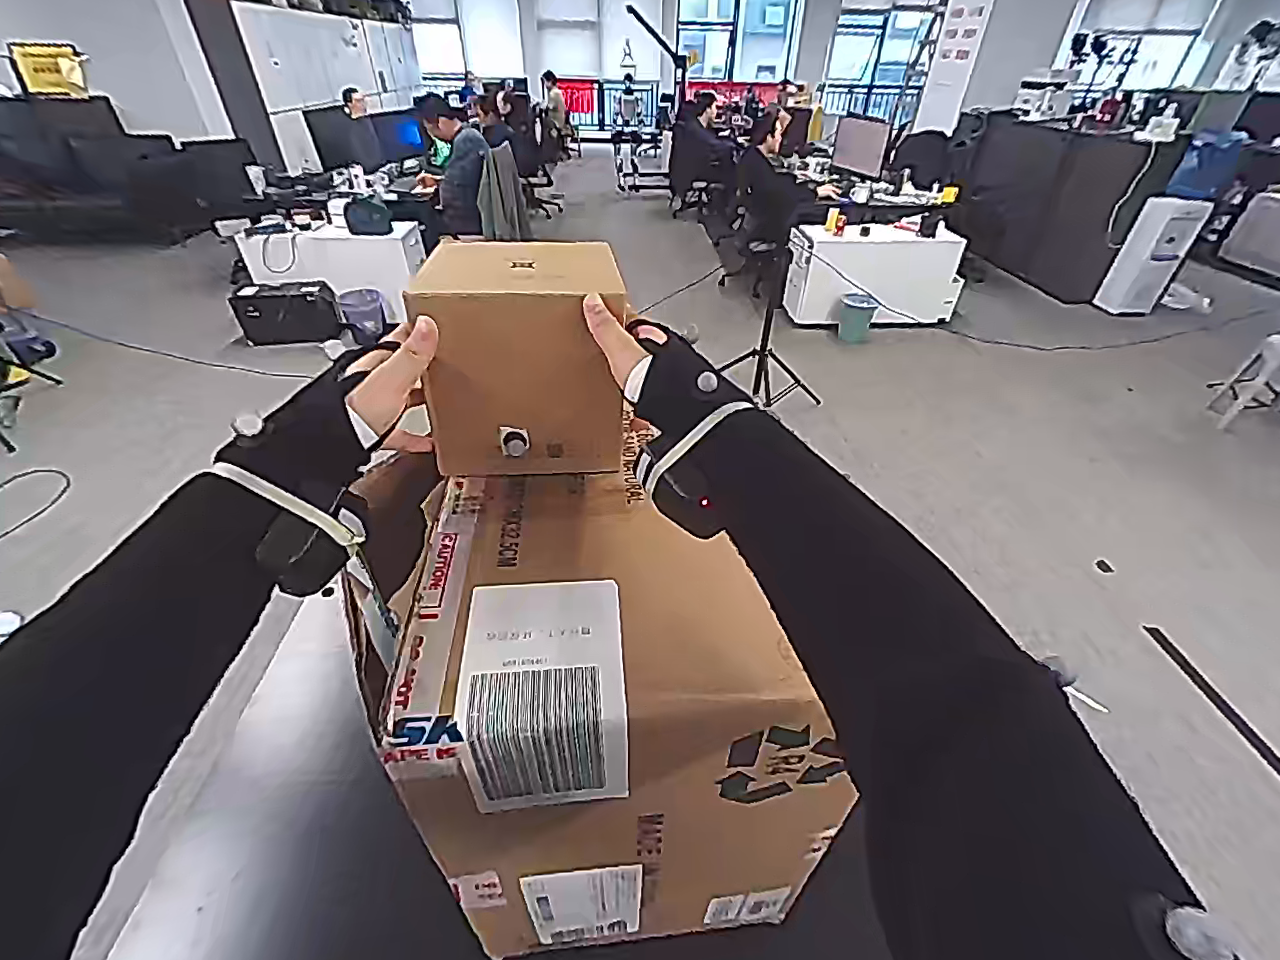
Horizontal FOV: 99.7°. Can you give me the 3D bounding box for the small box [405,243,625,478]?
[{"bbox_3d":[-0.106,-0.118,0.518,0.168,0.176,0.179,-3,36,-7],"label":"small box"}]
